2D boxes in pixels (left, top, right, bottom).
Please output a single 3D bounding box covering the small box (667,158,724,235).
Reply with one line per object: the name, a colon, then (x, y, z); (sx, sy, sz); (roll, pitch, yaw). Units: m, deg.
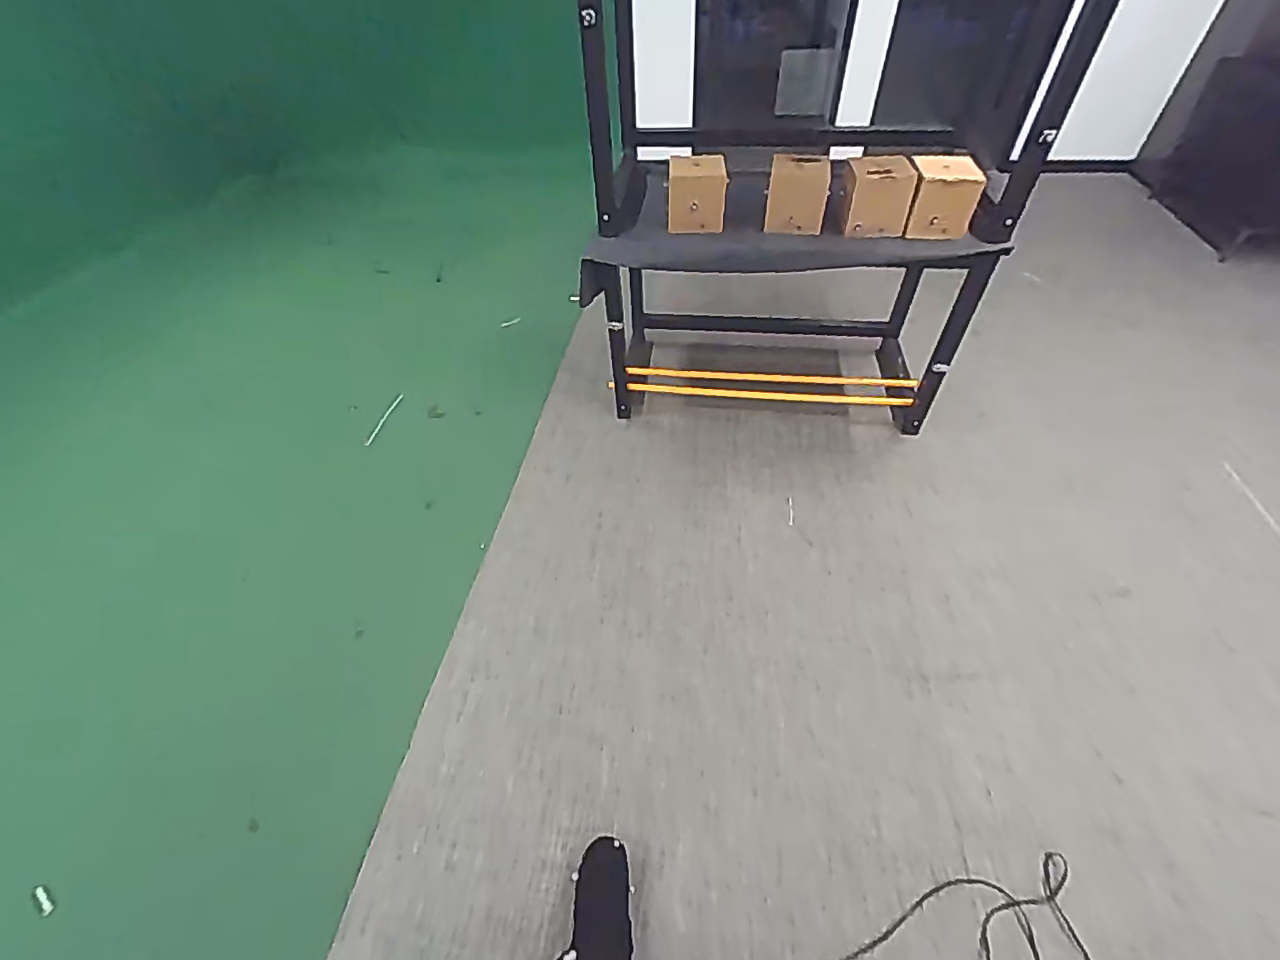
small box: (0.170, -0.873, 1.668); (0.168, 0.176, 0.179); (1, 47, 3)
